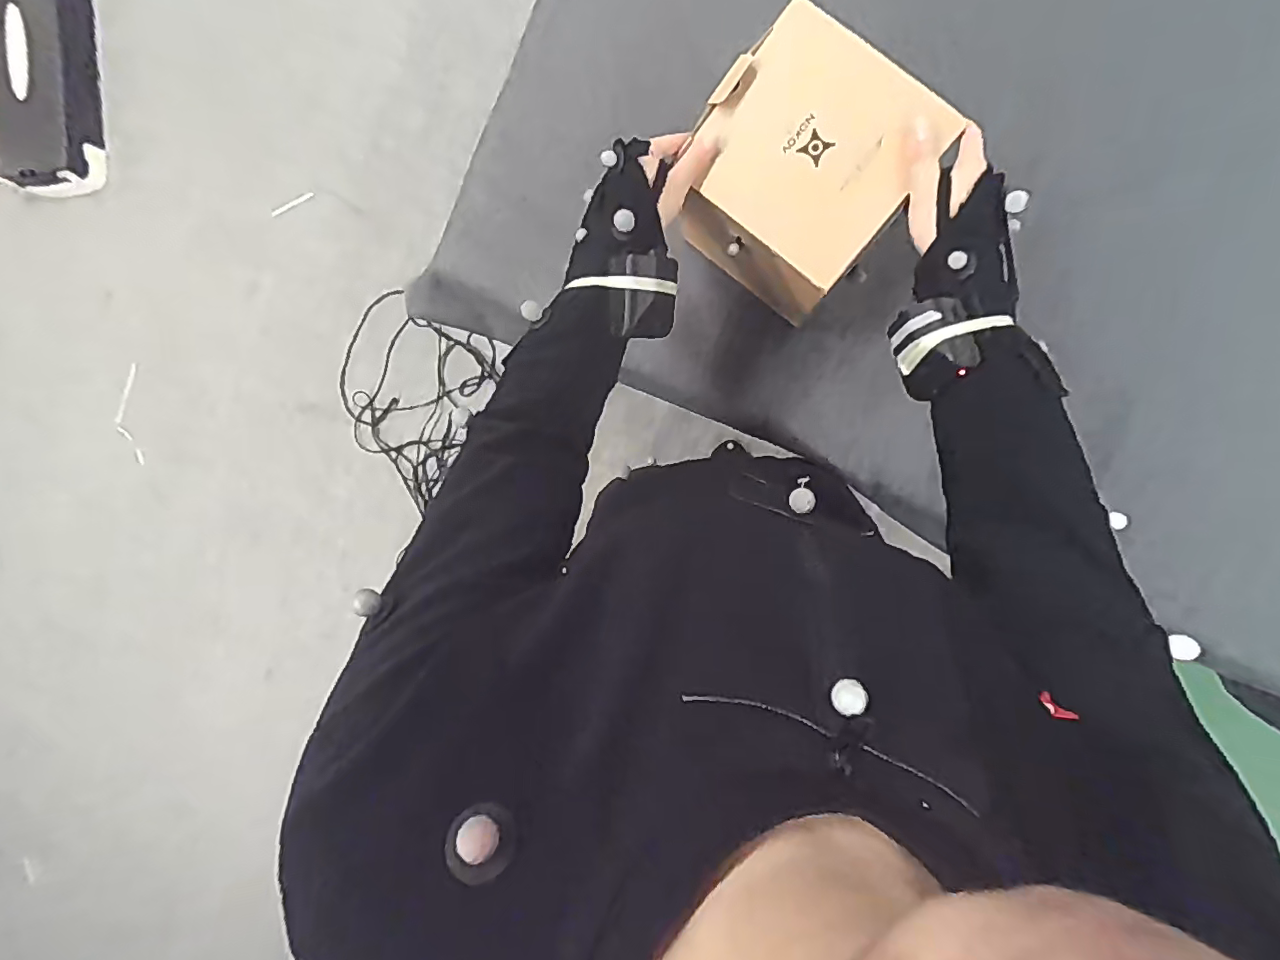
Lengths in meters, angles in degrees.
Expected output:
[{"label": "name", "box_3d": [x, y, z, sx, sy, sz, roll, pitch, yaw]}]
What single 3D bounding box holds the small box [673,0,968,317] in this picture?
[{"label": "small box", "box_3d": [0.154, -0.280, 0.519, 0.179, 0.176, 0.168, 39, 100, 3]}]
